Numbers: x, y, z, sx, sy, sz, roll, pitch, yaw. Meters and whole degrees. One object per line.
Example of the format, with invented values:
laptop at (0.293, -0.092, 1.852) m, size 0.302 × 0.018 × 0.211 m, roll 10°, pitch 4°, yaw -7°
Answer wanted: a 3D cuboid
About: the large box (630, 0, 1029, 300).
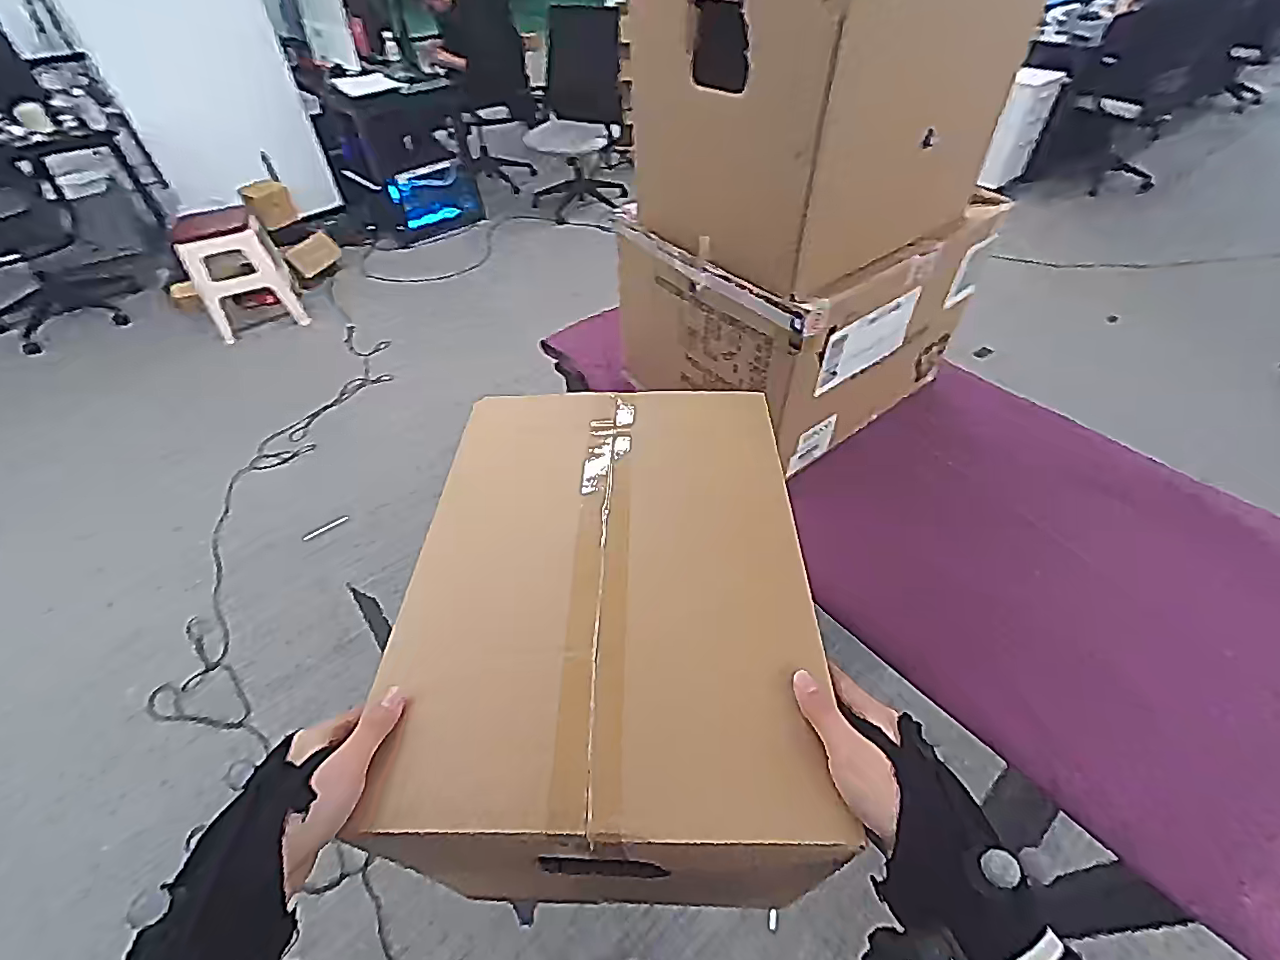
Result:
large box at (0.237, -0.500, 0.727) m, size 0.408 × 0.320 × 0.320 m, roll -33°, pitch 52°, yaw -25°
